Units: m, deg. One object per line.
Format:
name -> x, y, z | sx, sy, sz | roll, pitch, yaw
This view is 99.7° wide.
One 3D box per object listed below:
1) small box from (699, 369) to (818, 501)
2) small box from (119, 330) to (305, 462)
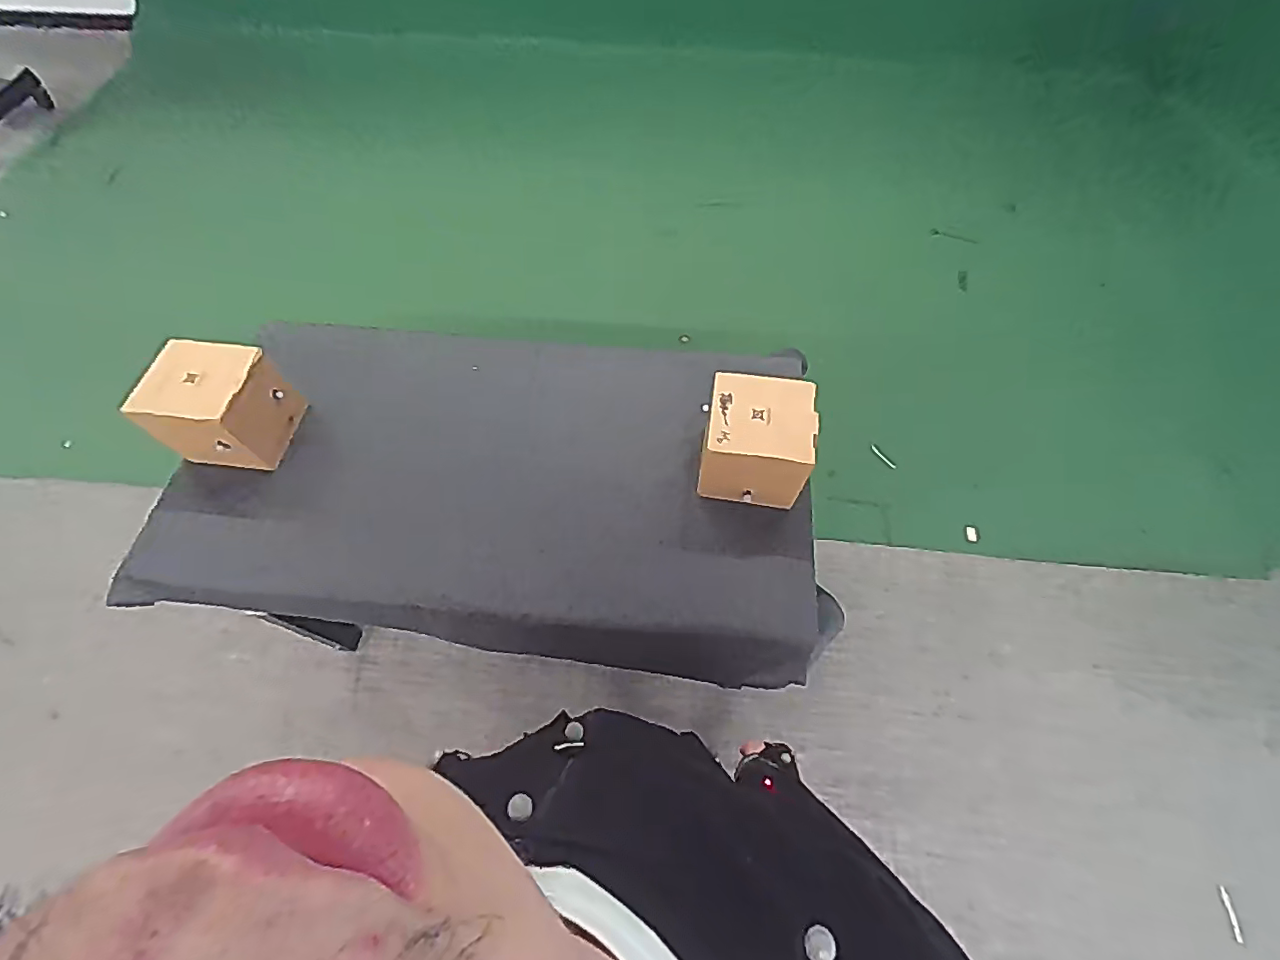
small box -> 0.210, -0.075, 0.977 | 0.179, 0.176, 0.168 | 8, 63, 4
small box -> -0.767, -0.148, 0.998 | 0.179, 0.176, 0.168 | 8, 60, 4
